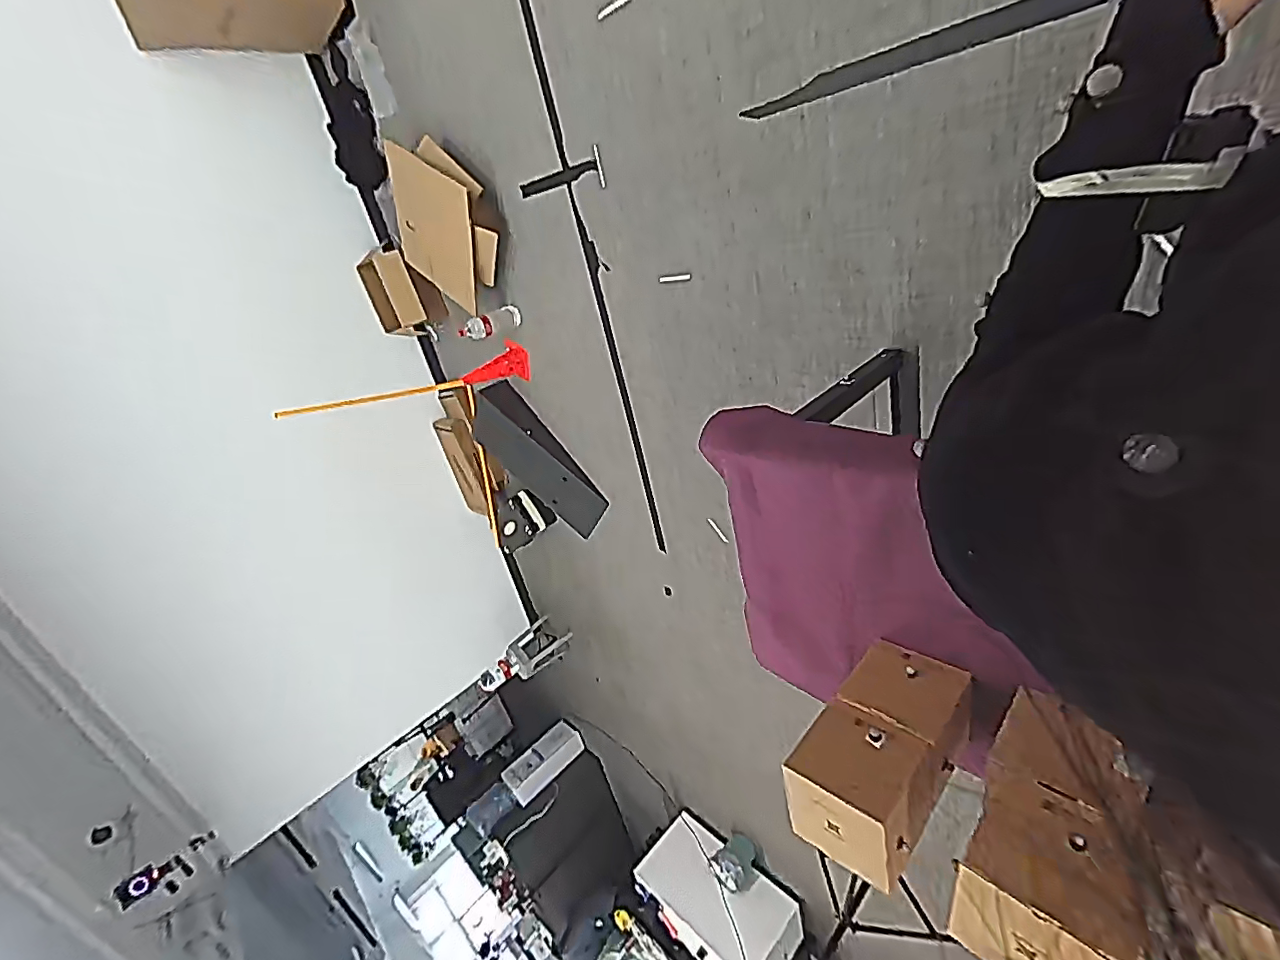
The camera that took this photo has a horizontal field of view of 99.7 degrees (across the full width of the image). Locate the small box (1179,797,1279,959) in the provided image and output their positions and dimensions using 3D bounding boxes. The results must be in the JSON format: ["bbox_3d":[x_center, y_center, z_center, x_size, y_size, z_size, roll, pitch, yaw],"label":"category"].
[{"bbox_3d":[0.793,0.535,0.653,0.168,0.176,0.179,17,127,44],"label":"small box"}]

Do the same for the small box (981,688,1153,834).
[{"bbox_3d":[0.623,0.446,0.796,0.168,0.176,0.179,15,128,45],"label":"small box"}]

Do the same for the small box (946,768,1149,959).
[{"bbox_3d":[0.520,0.525,0.697,0.168,0.176,0.179,18,128,44],"label":"small box"}]

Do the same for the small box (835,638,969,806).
[{"bbox_3d":[0.469,0.421,0.968,0.168,0.176,0.179,14,126,44],"label":"small box"}]

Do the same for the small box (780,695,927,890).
[{"bbox_3d":[0.353,0.497,0.882,0.168,0.176,0.179,12,124,46],"label":"small box"}]
